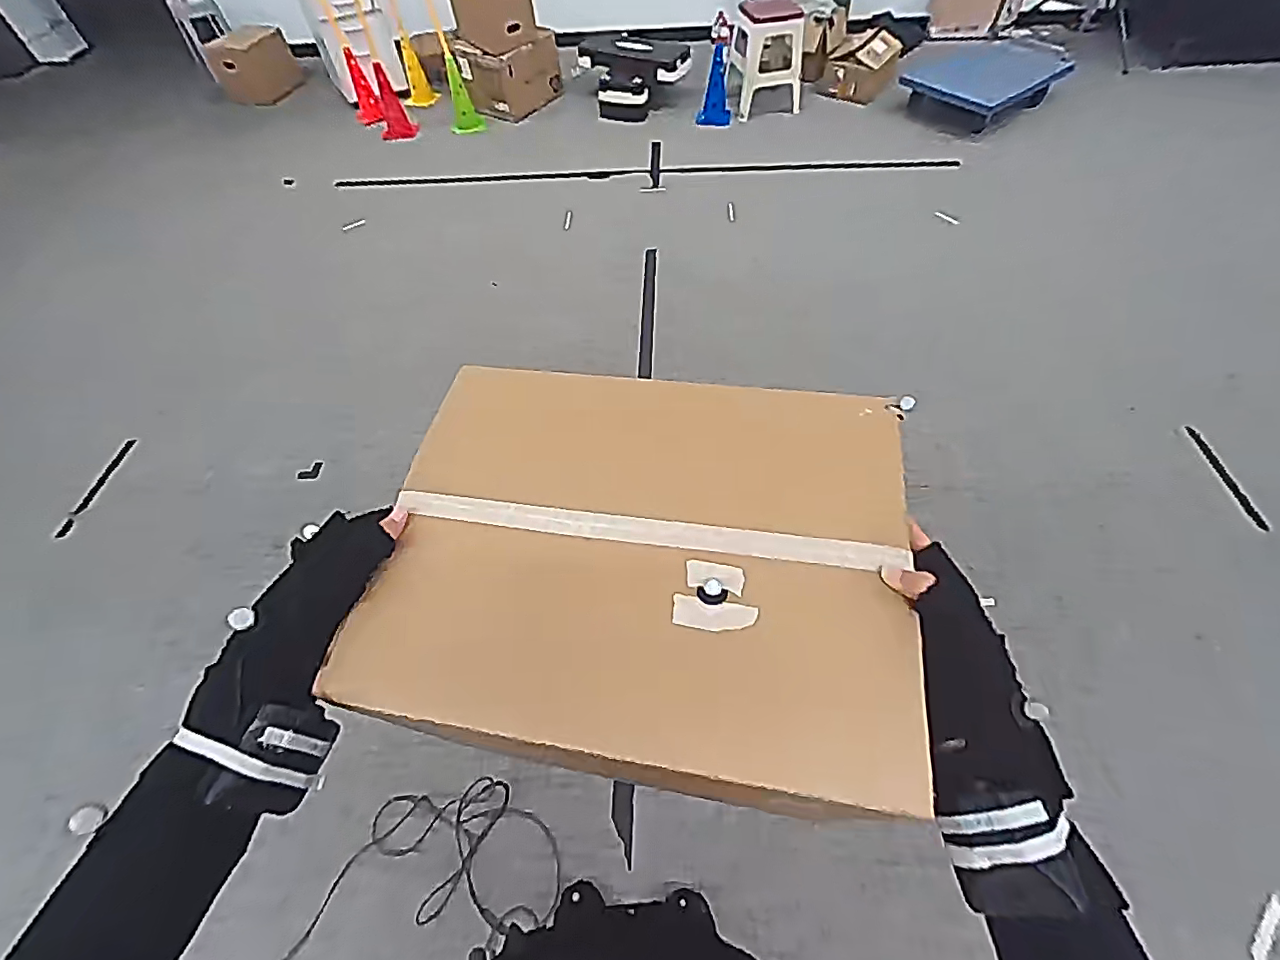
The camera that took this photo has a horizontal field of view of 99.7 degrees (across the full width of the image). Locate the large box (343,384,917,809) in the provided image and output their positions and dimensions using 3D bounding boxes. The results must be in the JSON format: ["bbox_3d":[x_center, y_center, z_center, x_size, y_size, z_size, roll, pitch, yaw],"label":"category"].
[{"bbox_3d":[0.011,0.127,0.564,0.408,0.320,0.320,6,59,9],"label":"large box"}]
